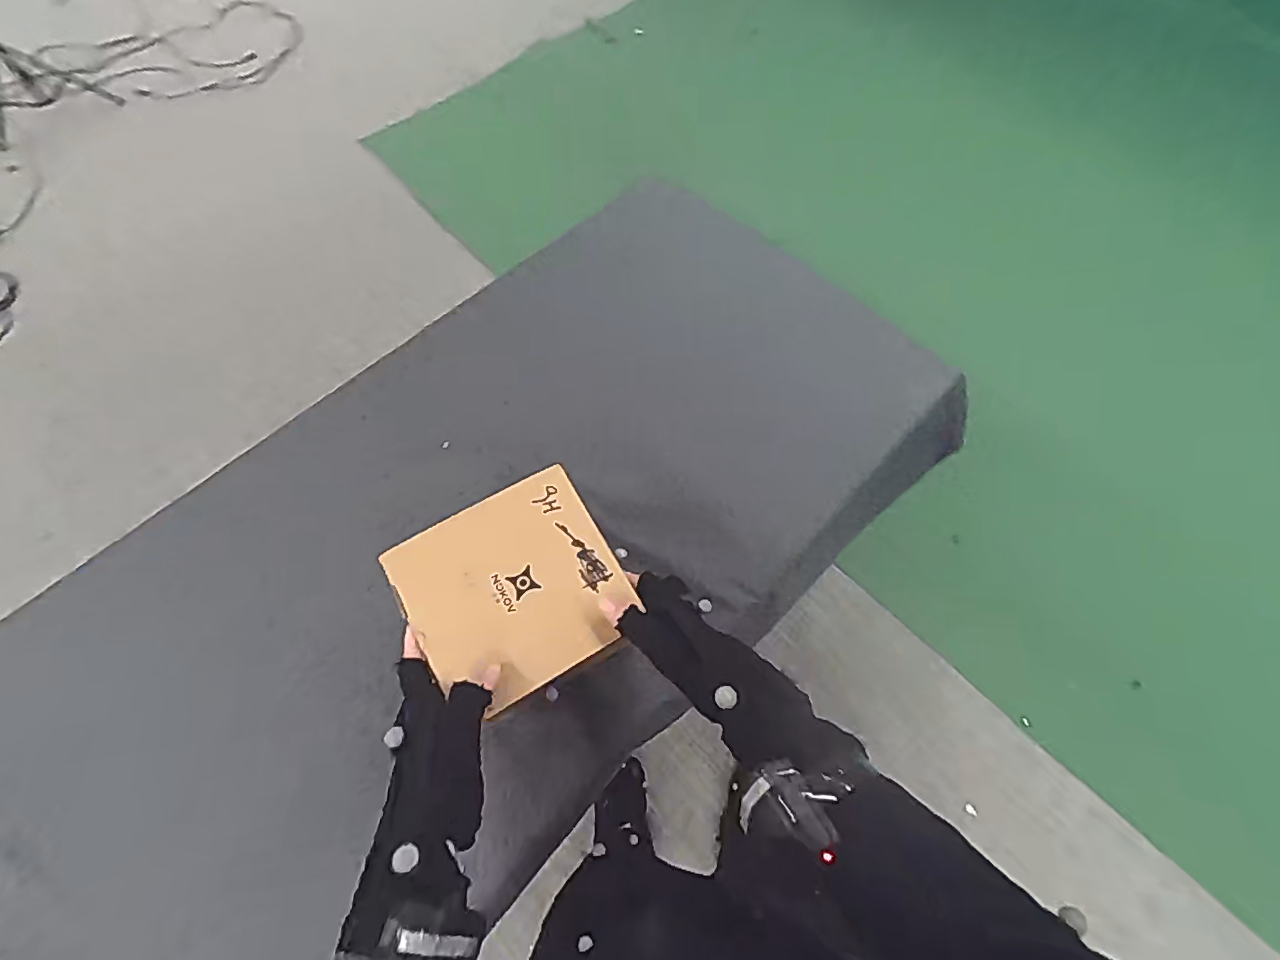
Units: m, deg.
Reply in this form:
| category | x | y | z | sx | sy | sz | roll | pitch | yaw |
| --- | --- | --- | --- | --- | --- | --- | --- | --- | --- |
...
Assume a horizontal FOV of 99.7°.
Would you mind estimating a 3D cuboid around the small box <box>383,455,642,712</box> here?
| category | x | y | z | sx | sy | sz | roll | pitch | yaw |
| --- | --- | --- | --- | --- | --- | --- | --- | --- | --- |
| small box | -0.114 | 0.110 | 0.541 | 0.179 | 0.176 | 0.168 | -30 | 73 | -14 |
